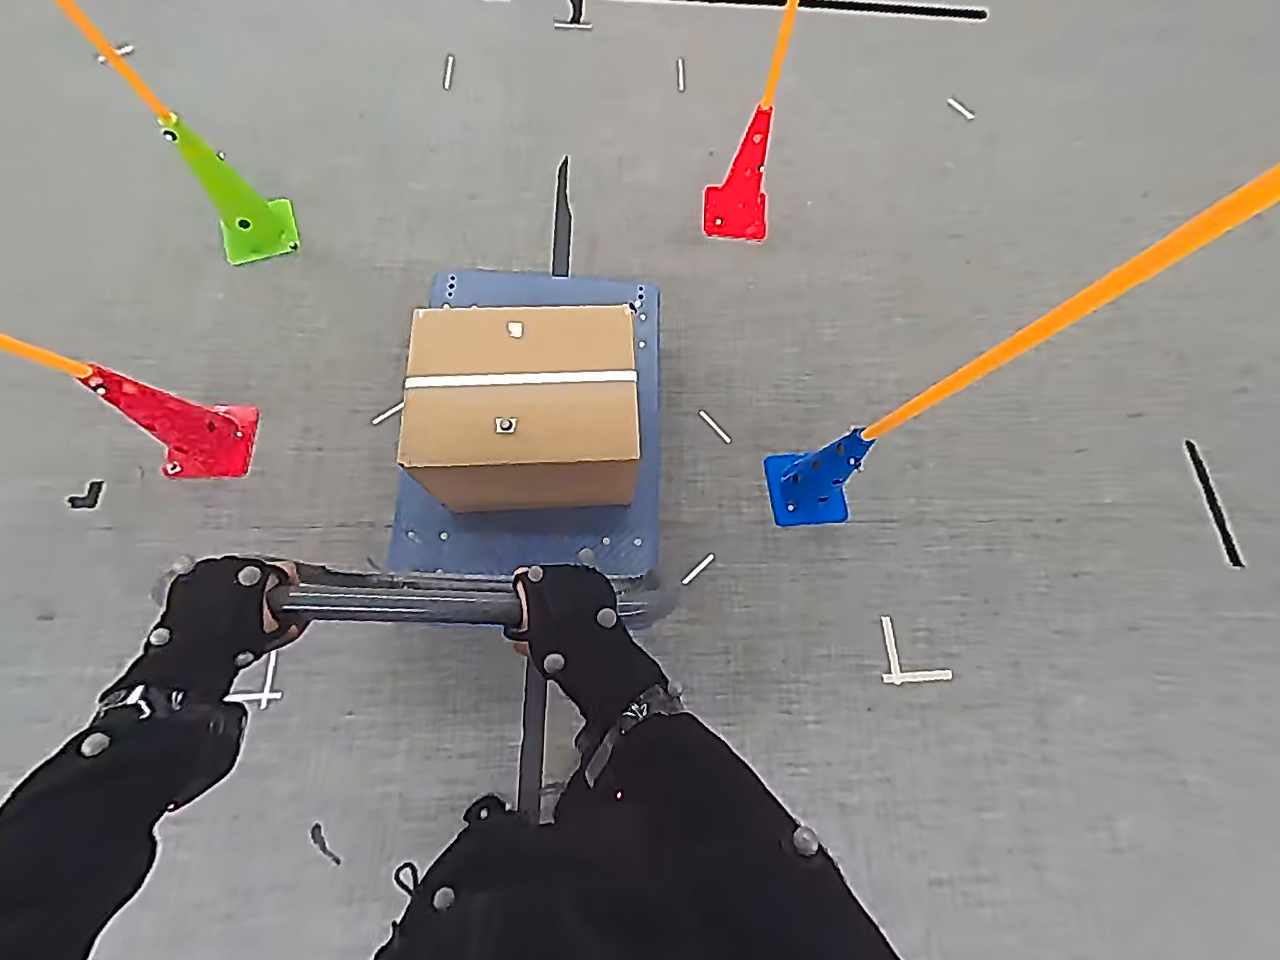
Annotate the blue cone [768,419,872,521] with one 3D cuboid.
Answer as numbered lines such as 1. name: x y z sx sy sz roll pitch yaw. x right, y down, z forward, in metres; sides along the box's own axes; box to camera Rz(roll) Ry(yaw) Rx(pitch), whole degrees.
1. blue cone: 0.456 -0.040 1.288 0.193 0.380 0.192 -3 71 -5

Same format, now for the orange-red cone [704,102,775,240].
1. orange-red cone: 0.318 -0.901 1.549 0.199 0.360 0.198 7 72 -2
